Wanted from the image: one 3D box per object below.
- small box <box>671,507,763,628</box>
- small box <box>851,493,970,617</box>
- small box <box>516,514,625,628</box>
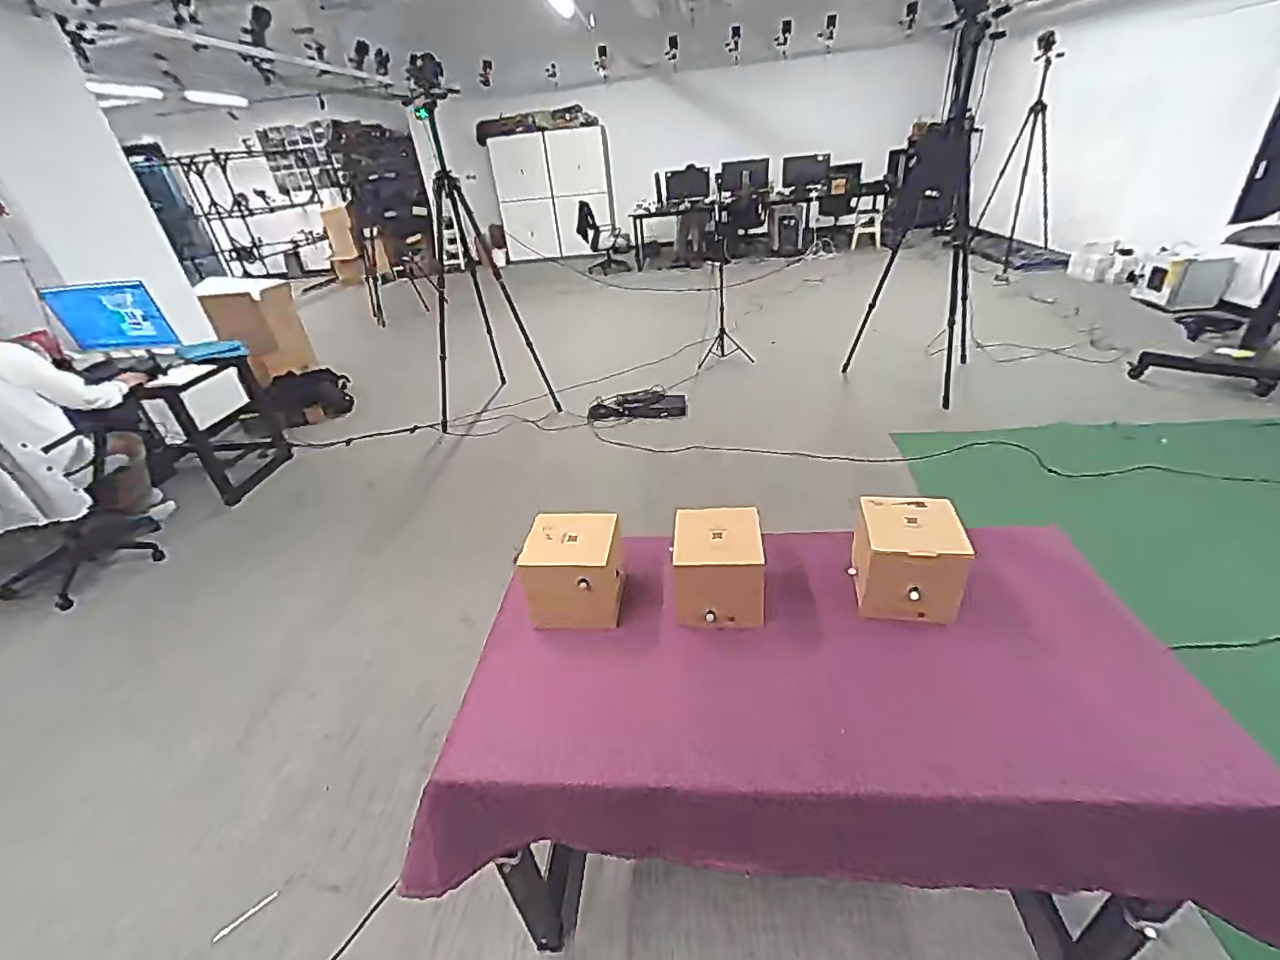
[{"bbox_3d":[0.154,0.171,1.078,0.168,0.176,0.179,-3,32,9],"label":"small box"},{"bbox_3d":[0.508,0.143,1.042,0.168,0.176,0.179,1,33,13],"label":"small box"},{"bbox_3d":[-0.132,0.187,1.109,0.179,0.176,0.168,-2,32,8],"label":"small box"}]
